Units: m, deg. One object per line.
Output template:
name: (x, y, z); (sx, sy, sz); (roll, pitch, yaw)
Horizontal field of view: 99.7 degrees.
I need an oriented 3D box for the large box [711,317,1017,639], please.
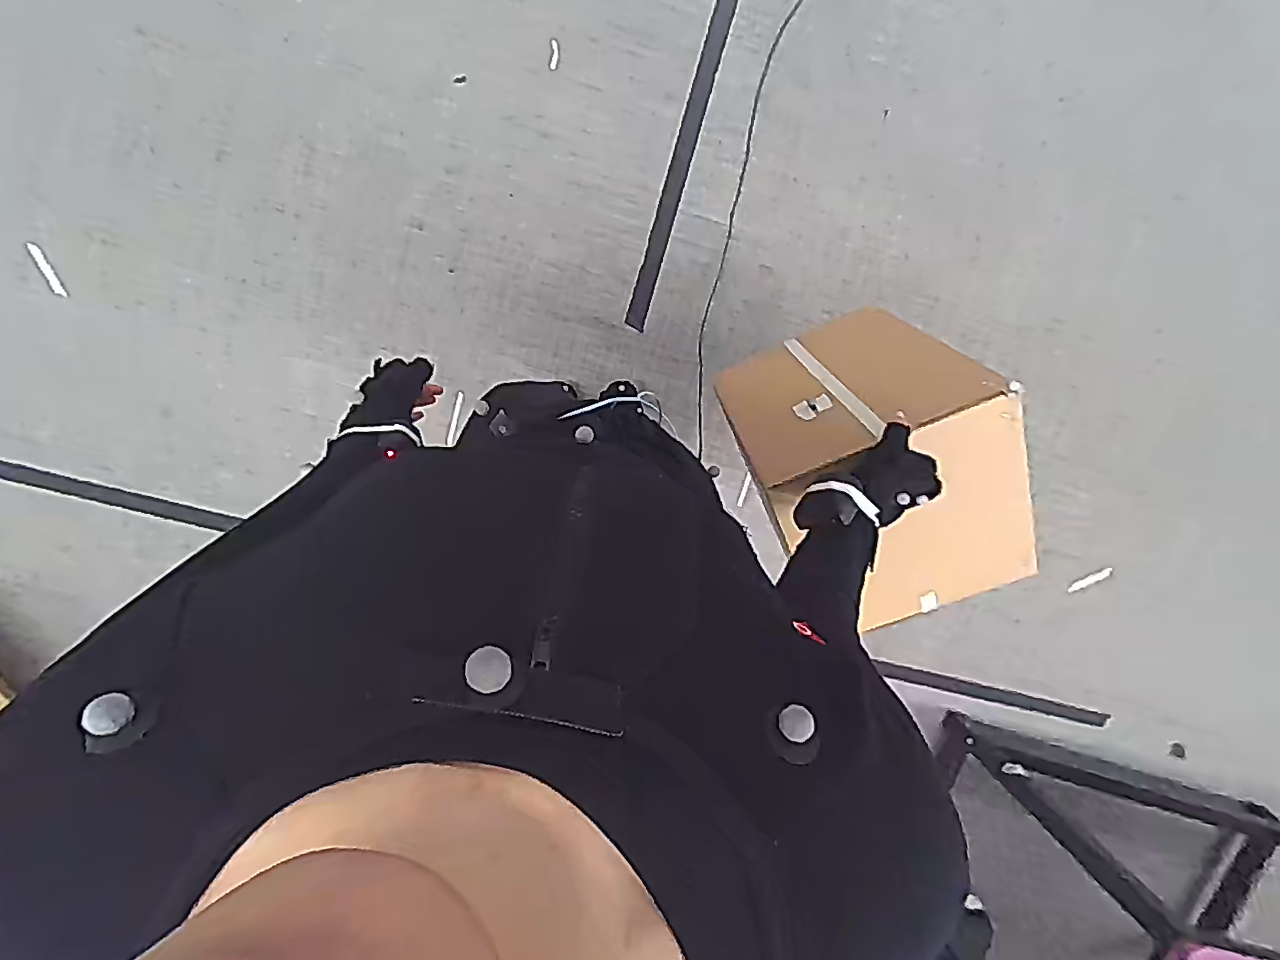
large box: (0.344, -0.021, 0.903); (0.320, 0.408, 0.320); (-23, 120, 10)
